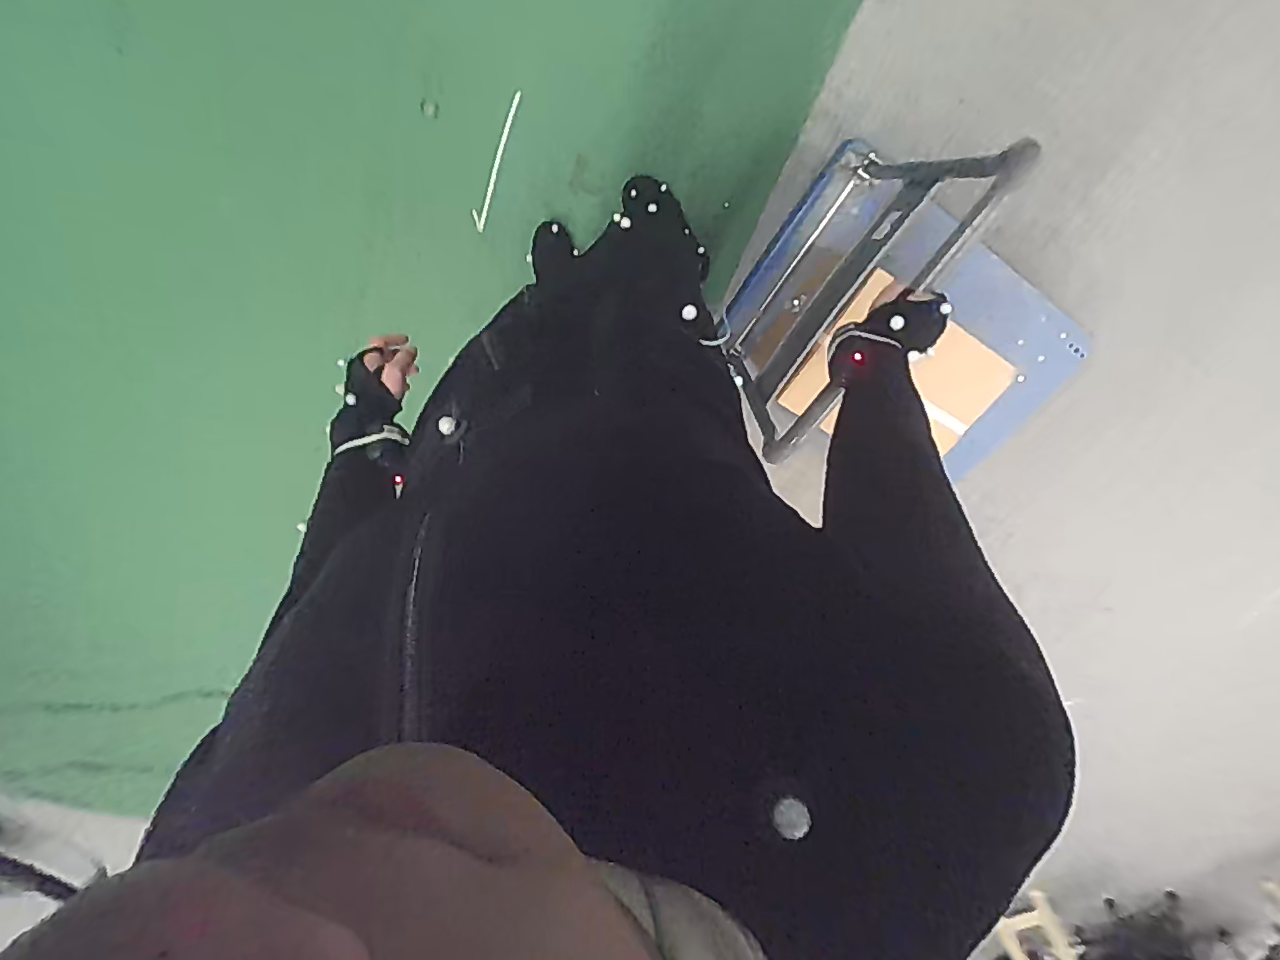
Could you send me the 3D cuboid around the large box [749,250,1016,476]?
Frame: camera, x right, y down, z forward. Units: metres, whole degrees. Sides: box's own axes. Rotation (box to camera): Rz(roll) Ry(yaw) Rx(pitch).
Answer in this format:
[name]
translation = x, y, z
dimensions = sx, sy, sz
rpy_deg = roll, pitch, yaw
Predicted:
[large box]
translation = 0.526, -0.276, 1.253
dimensions = 0.408, 0.320, 0.320
rpy_deg = 26, 116, -17
